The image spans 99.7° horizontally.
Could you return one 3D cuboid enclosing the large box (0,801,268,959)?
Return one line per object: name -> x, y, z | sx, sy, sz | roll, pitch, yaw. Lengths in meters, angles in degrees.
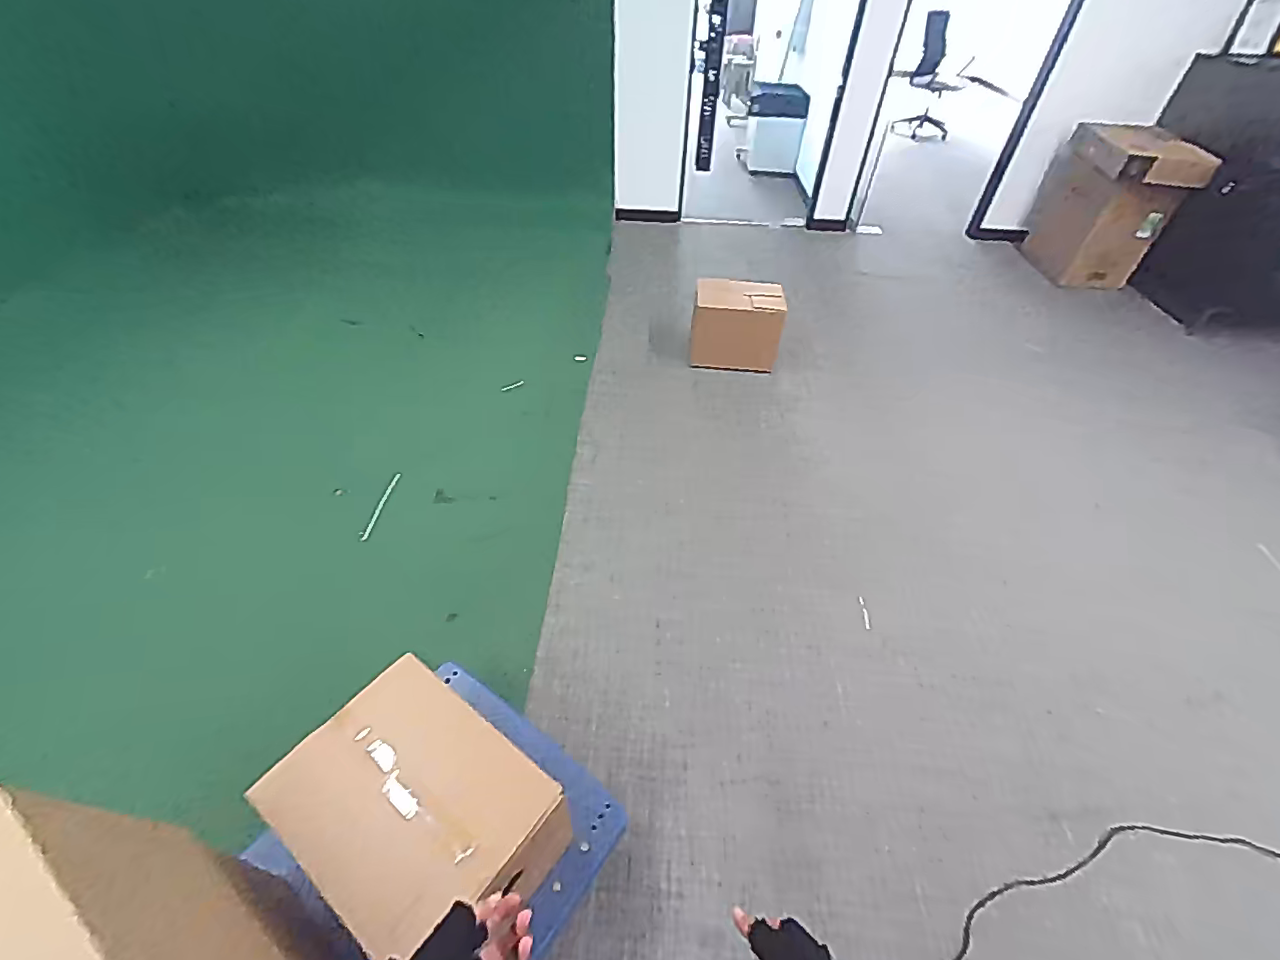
large box -> -0.600, 0.602, 0.521 | 0.408, 0.320, 0.320 | 26, 54, 23
